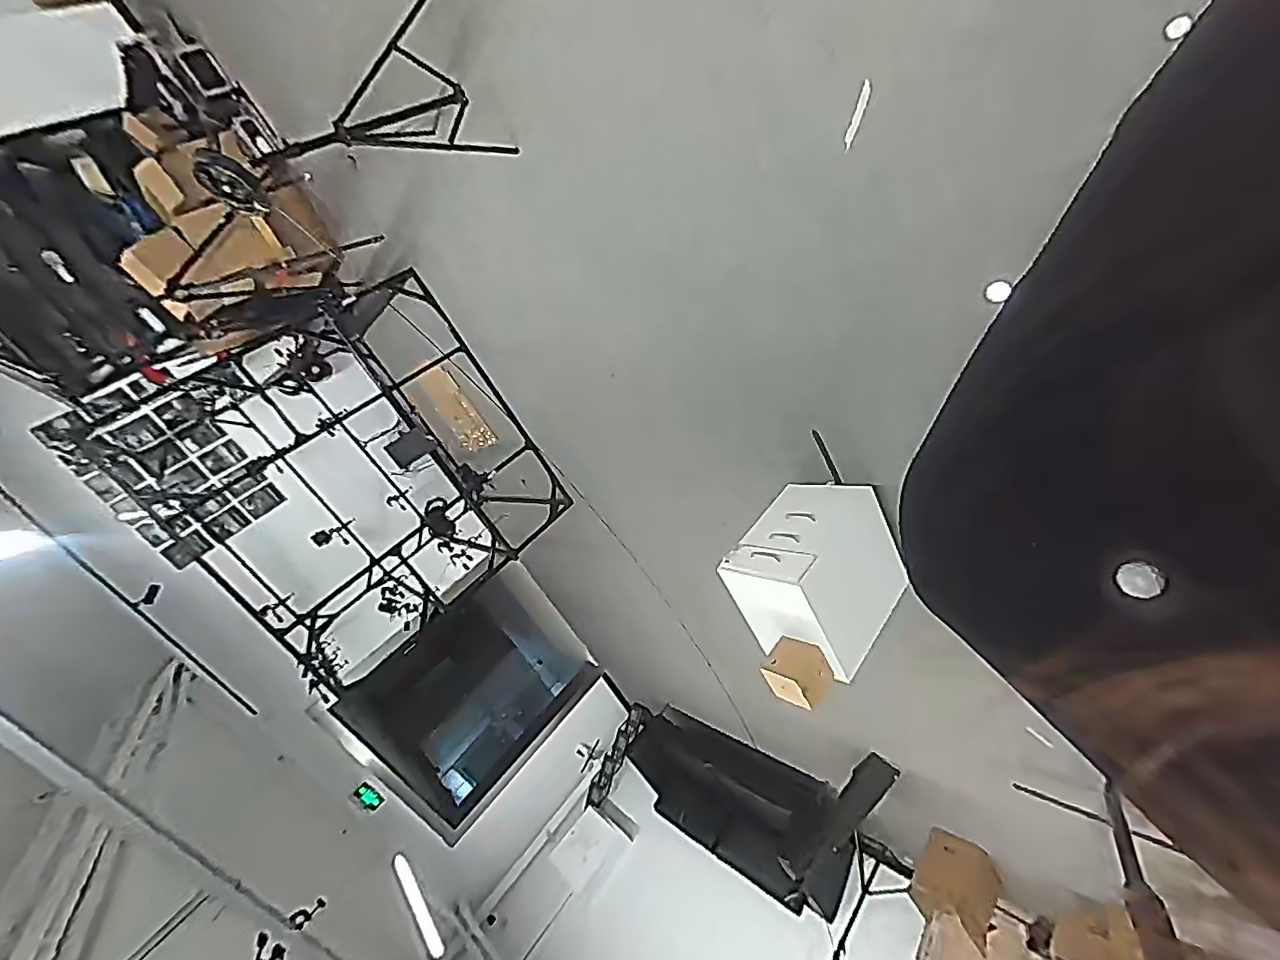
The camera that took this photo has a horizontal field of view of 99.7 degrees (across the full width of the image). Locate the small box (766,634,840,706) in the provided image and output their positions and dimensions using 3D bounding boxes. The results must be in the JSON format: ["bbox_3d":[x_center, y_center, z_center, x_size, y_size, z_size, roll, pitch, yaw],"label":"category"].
[{"bbox_3d":[0.620,0.712,2.046,0.179,0.176,0.168,0,128,55],"label":"small box"}]
